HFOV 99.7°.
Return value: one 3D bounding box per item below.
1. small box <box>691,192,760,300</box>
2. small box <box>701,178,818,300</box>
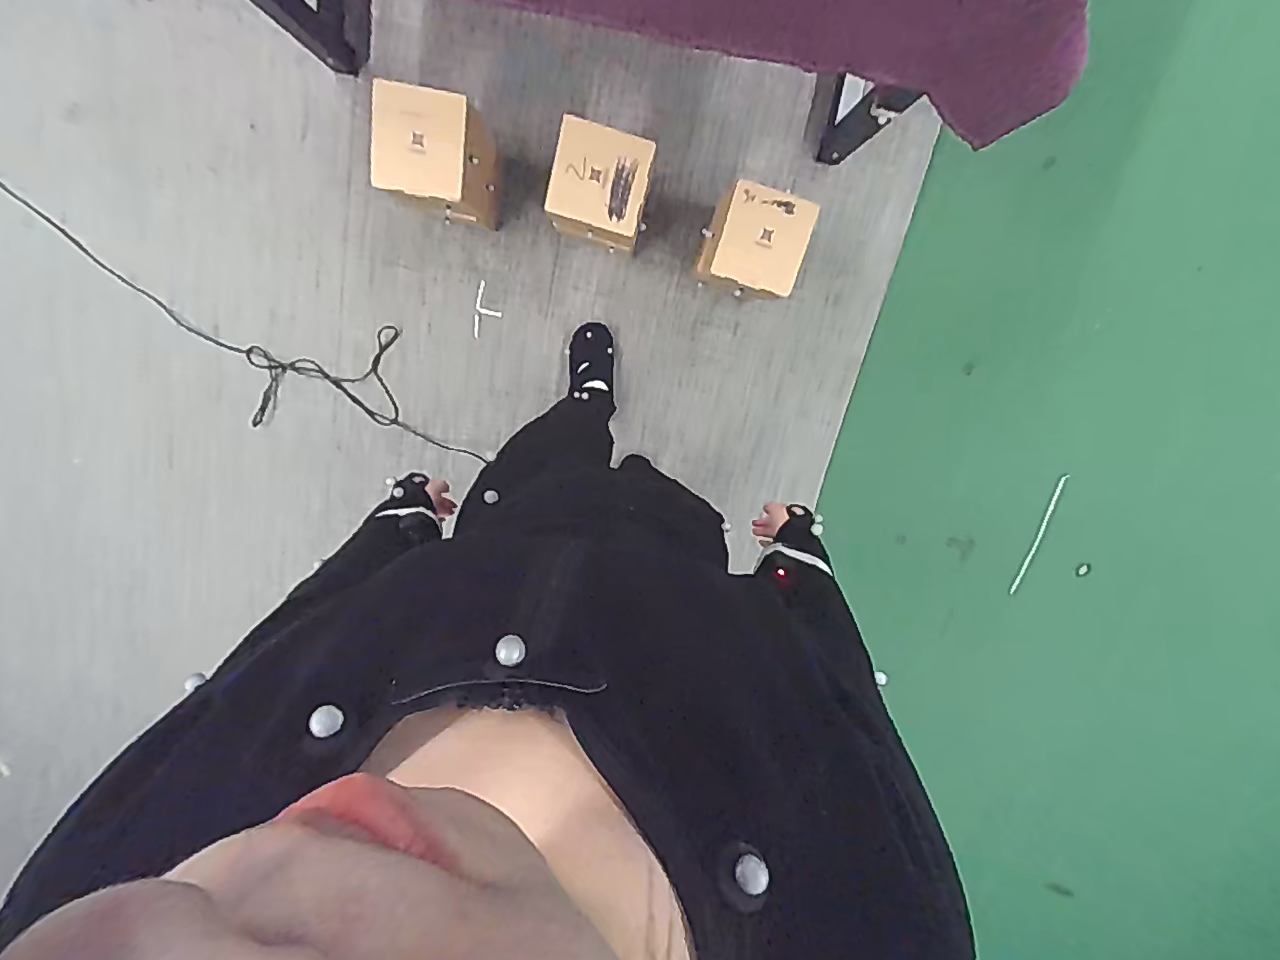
[{"bbox_3d":[0.226,-0.532,1.259,0.168,0.176,0.179,20,104,-7],"label":"small box"},{"bbox_3d":[0.230,-0.479,1.102,0.168,0.176,0.179,16,107,-8],"label":"small box"}]
